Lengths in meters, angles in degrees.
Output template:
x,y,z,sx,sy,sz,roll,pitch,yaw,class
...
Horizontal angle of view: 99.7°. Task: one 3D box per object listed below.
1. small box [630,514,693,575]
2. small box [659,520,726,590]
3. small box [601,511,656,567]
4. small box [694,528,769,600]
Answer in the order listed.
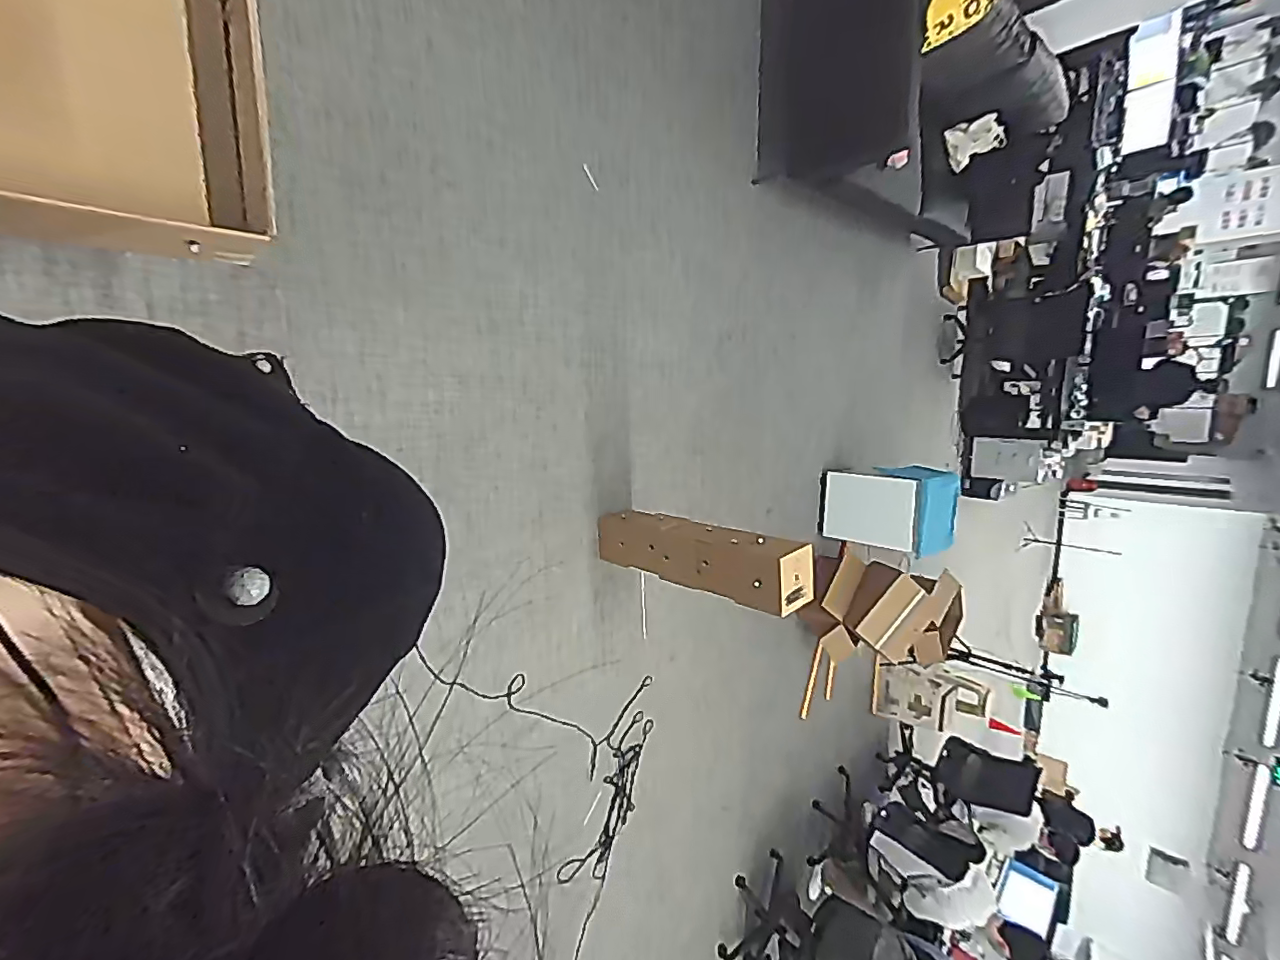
x,y,z,sx,sy,sz,roll,pitch,yaw,class
0.076,0.223,1.946,0.168,0.176,0.179,-10,103,-42,small box
0.178,0.245,1.820,0.168,0.176,0.179,-13,105,-42,small box
-0.038,0.217,2.064,0.168,0.176,0.179,-11,104,-43,small box
0.288,0.257,1.701,0.179,0.176,0.168,-13,104,-41,small box
